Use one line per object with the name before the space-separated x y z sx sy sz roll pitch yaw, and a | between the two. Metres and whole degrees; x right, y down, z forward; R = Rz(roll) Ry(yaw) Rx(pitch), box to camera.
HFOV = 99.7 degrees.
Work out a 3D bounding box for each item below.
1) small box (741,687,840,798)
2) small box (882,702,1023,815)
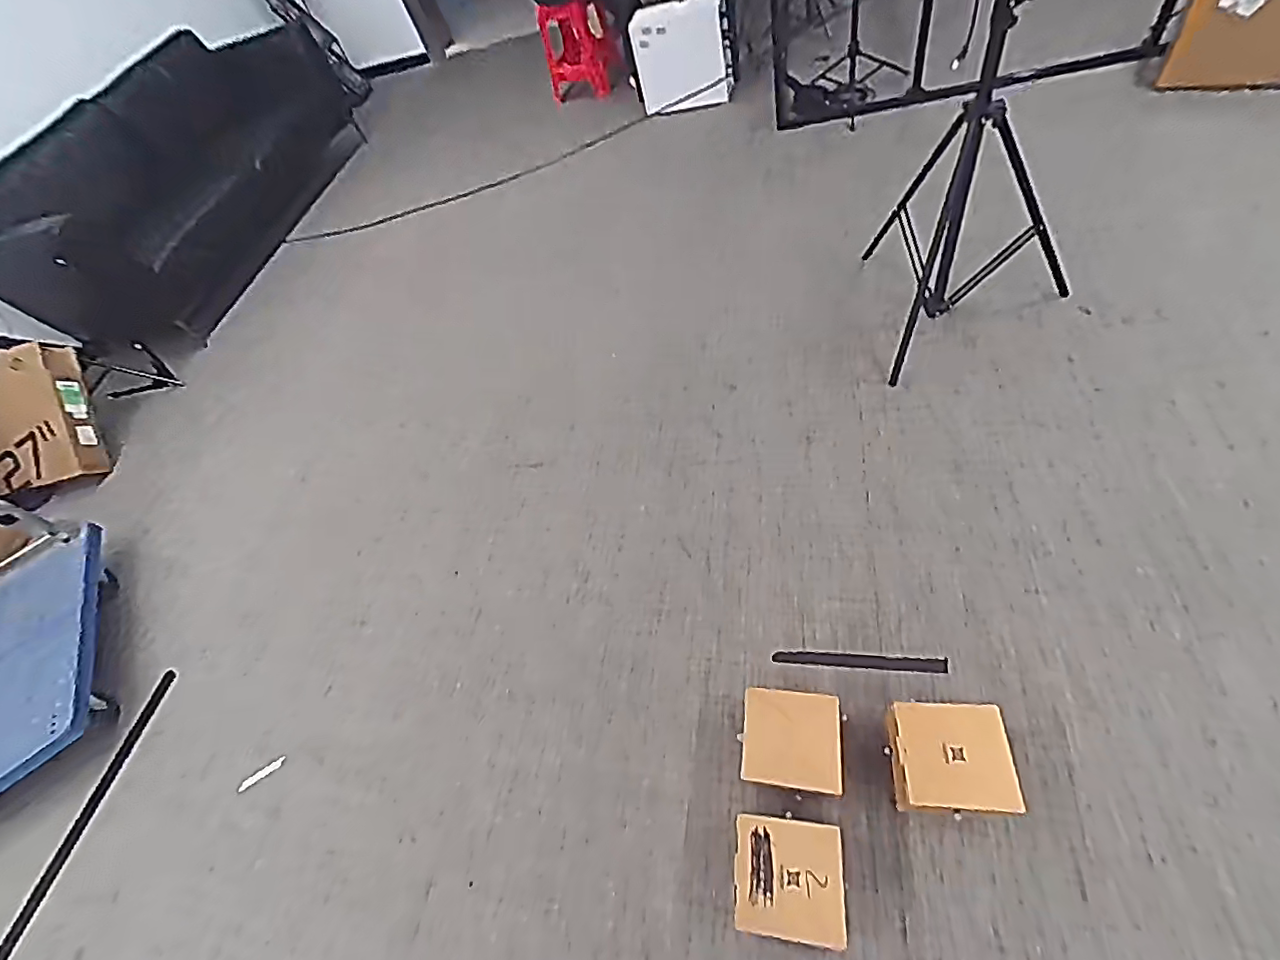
small box | 0.300 0.520 1.071 0.179 0.176 0.168 0 57 17
small box | 0.561 0.516 0.998 0.179 0.176 0.168 -5 56 15
